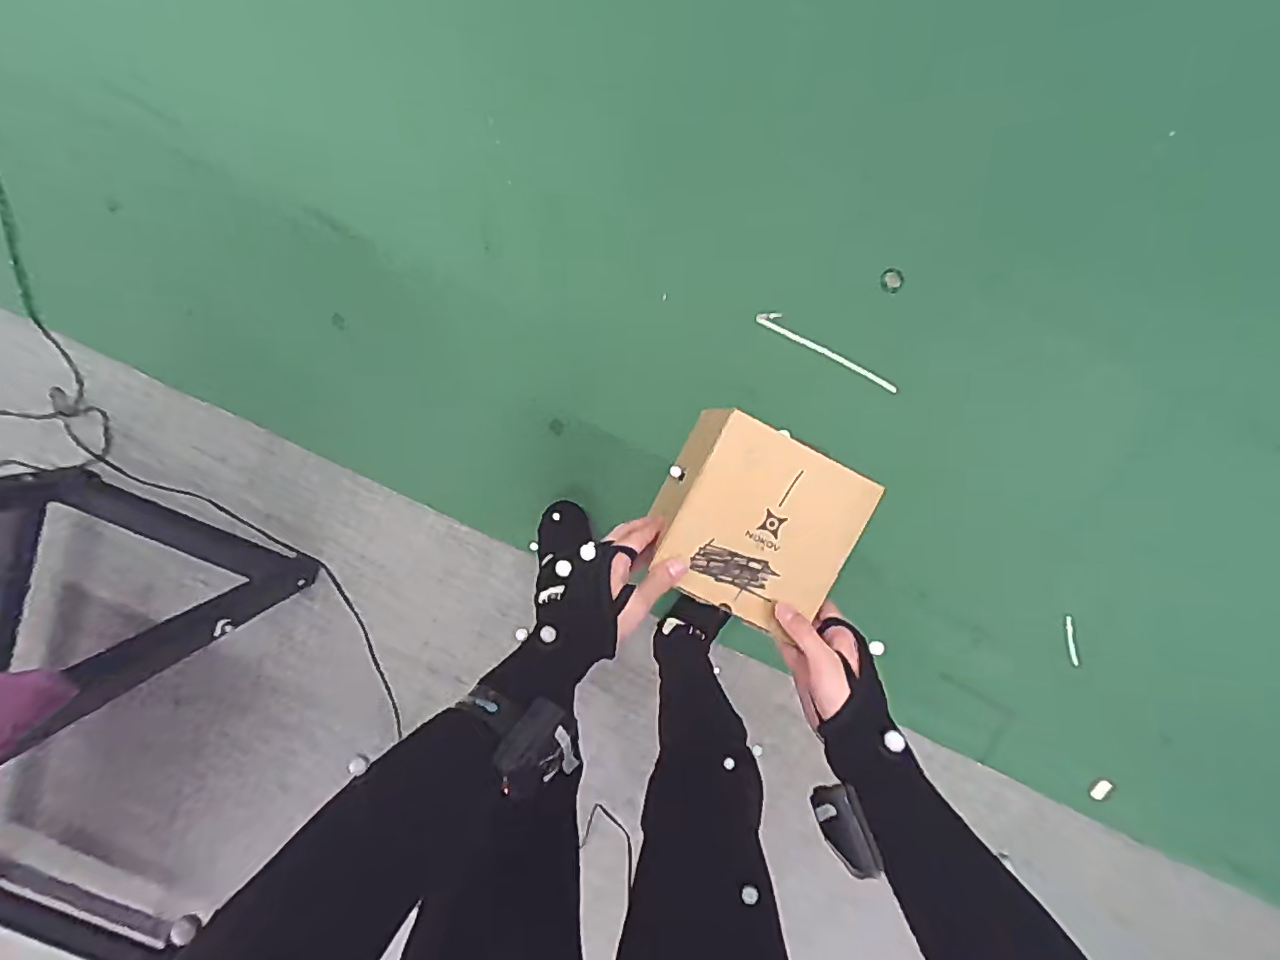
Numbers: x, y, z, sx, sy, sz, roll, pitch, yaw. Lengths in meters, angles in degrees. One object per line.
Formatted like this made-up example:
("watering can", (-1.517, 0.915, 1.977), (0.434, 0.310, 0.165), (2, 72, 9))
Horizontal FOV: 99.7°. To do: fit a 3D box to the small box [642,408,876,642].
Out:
("small box", (0.111, 0.037, 0.590), (0.168, 0.176, 0.179), (28, 94, -6))
